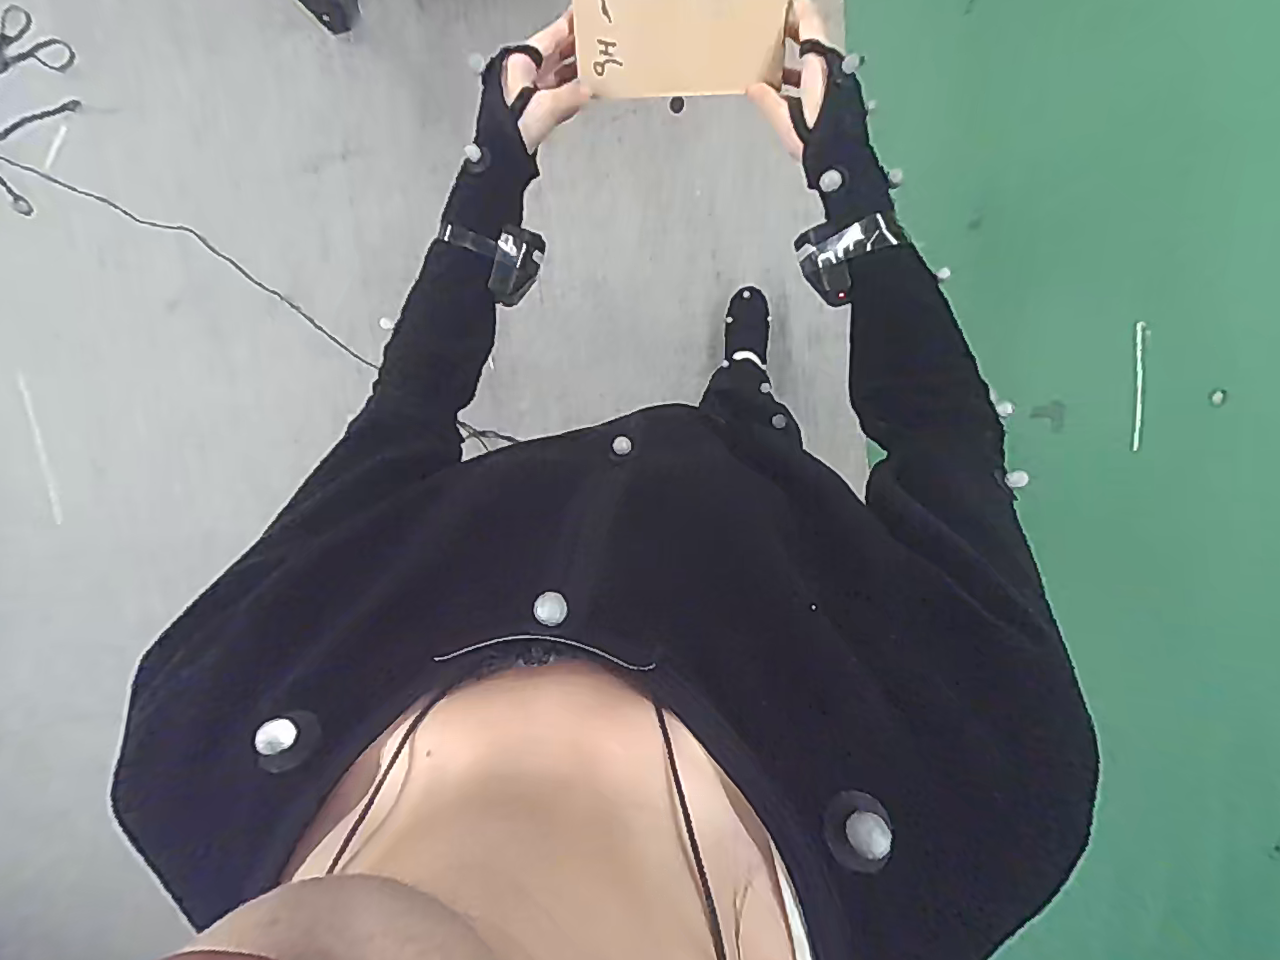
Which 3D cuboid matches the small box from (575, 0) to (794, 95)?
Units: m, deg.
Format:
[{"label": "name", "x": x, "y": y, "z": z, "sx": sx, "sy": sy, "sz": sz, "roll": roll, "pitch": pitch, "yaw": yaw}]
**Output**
[{"label": "small box", "x": 0.036, "y": -0.445, "z": 0.478, "sx": 0.179, "sy": 0.176, "sz": 0.168, "roll": 0, "pitch": 126, "yaw": 2}]
